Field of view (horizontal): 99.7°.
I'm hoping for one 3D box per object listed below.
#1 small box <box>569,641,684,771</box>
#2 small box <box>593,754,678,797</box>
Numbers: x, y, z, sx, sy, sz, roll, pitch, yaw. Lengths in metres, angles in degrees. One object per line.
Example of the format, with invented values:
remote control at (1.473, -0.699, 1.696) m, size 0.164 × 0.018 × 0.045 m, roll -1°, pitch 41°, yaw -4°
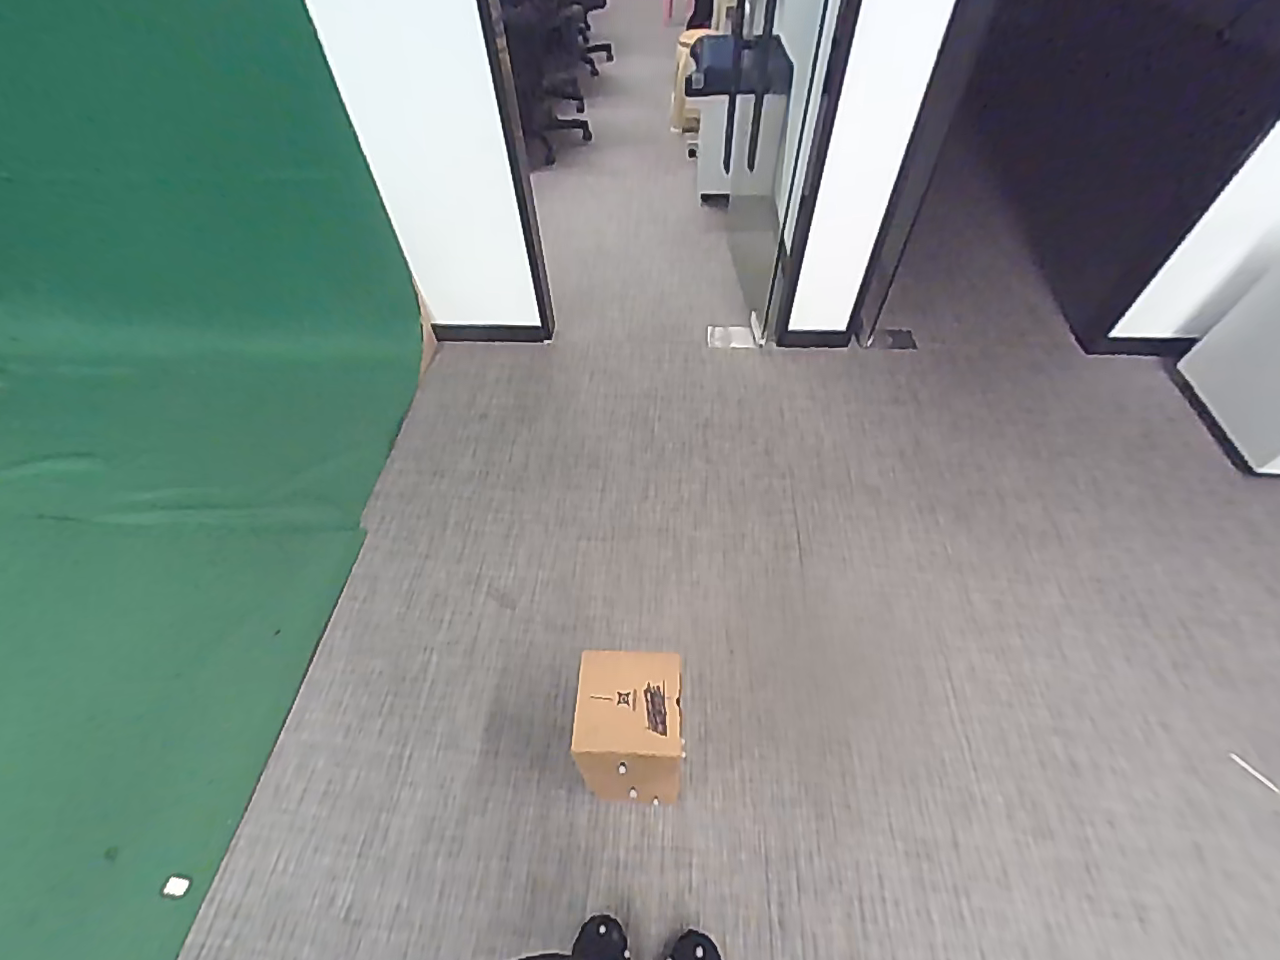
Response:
small box at (-0.017, 0.406, 0.962) m, size 0.179 × 0.176 × 0.168 m, roll 4°, pitch 50°, yaw 5°
small box at (-0.002, 0.610, 1.223) m, size 0.179 × 0.176 × 0.168 m, roll 0°, pitch 51°, yaw 4°
